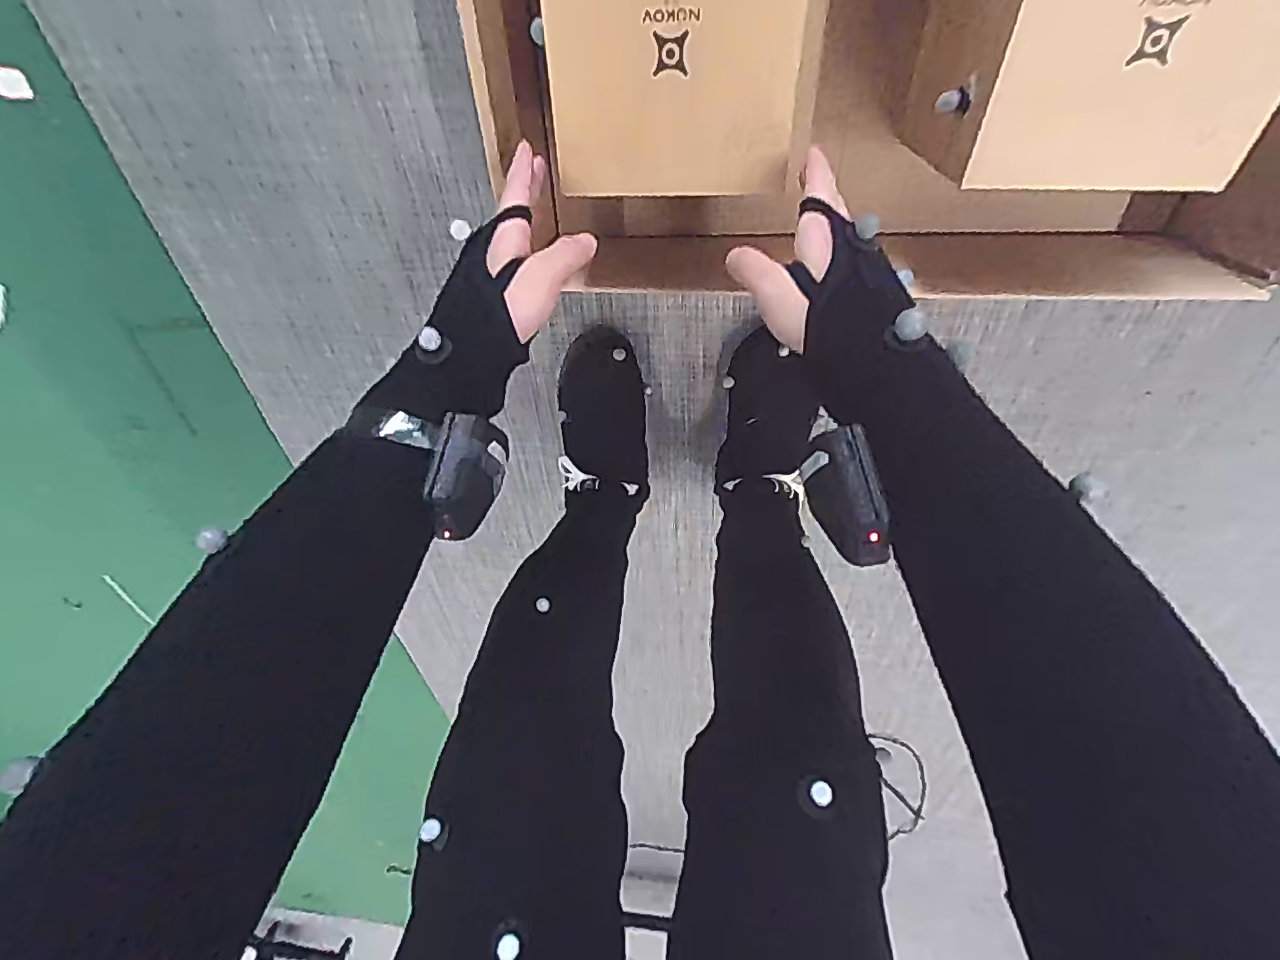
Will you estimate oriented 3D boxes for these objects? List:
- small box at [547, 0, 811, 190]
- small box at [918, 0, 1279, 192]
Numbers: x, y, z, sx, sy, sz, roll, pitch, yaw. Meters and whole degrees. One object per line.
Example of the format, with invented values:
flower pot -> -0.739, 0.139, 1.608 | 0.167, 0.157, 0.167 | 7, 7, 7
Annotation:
small box -> 0.033, -0.330, 0.403 | 0.168, 0.176, 0.179 | 3, 128, 6
small box -> 0.313, -0.314, 0.369 | 0.168, 0.176, 0.179 | 5, 130, 6
